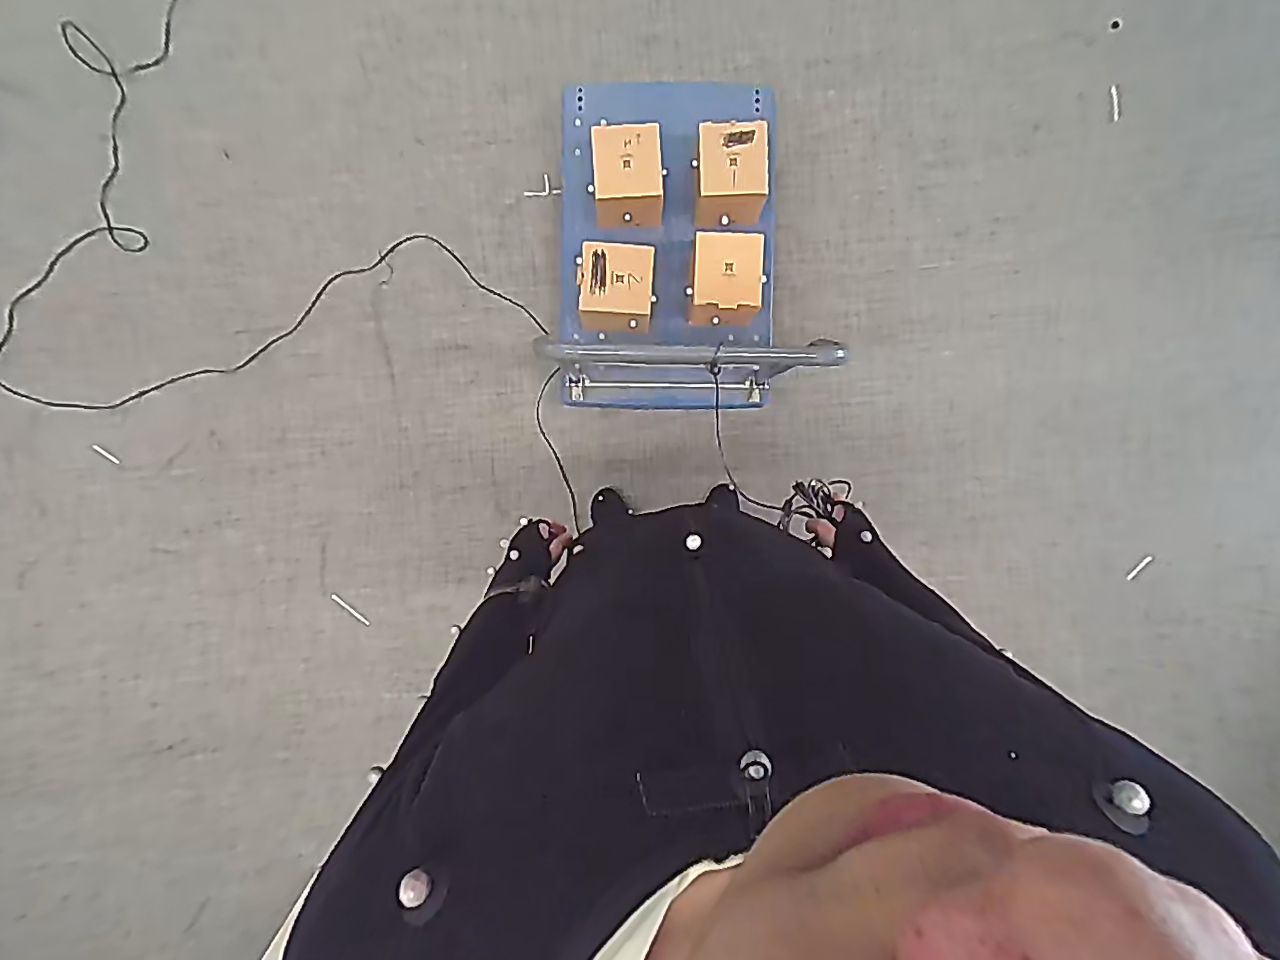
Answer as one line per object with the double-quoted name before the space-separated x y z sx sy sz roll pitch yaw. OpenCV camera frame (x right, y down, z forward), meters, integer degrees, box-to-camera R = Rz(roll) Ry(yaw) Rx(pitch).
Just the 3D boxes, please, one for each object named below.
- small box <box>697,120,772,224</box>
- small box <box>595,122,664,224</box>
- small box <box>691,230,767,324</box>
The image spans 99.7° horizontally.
"small box" 0.233 -0.772 1.368 0.168 0.176 0.179 -1 92 1
"small box" -0.024 -0.766 1.370 0.168 0.176 0.179 -3 91 -1
"small box" 0.221 -0.510 1.374 0.168 0.176 0.179 1 91 0
